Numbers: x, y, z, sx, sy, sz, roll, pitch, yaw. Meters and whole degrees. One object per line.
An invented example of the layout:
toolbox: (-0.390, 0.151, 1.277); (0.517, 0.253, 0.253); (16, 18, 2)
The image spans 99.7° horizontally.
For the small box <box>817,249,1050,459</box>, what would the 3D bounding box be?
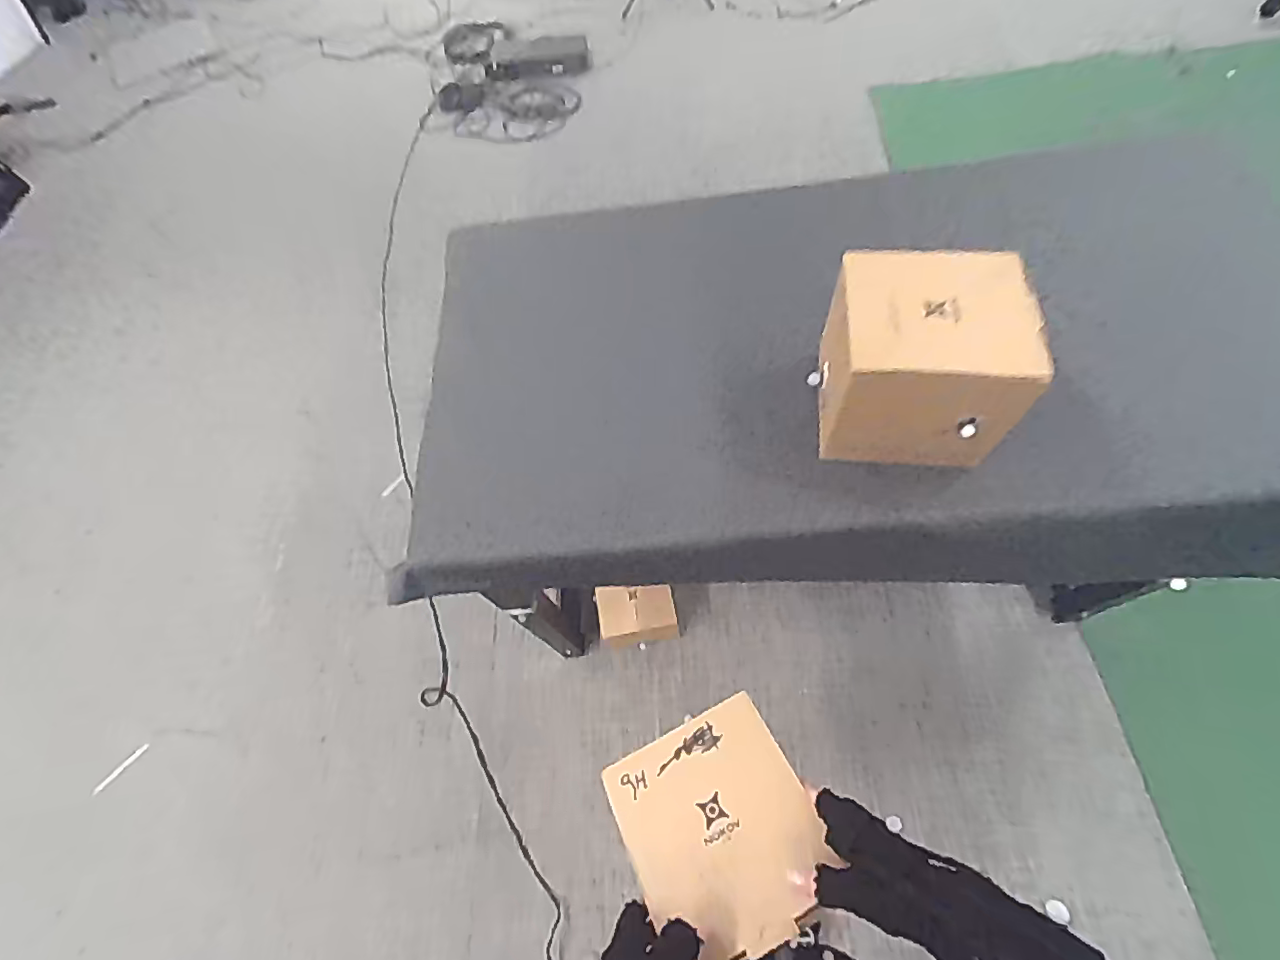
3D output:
small box: (0.307, -0.135, 0.610); (0.179, 0.176, 0.168); (3, 61, 9)
